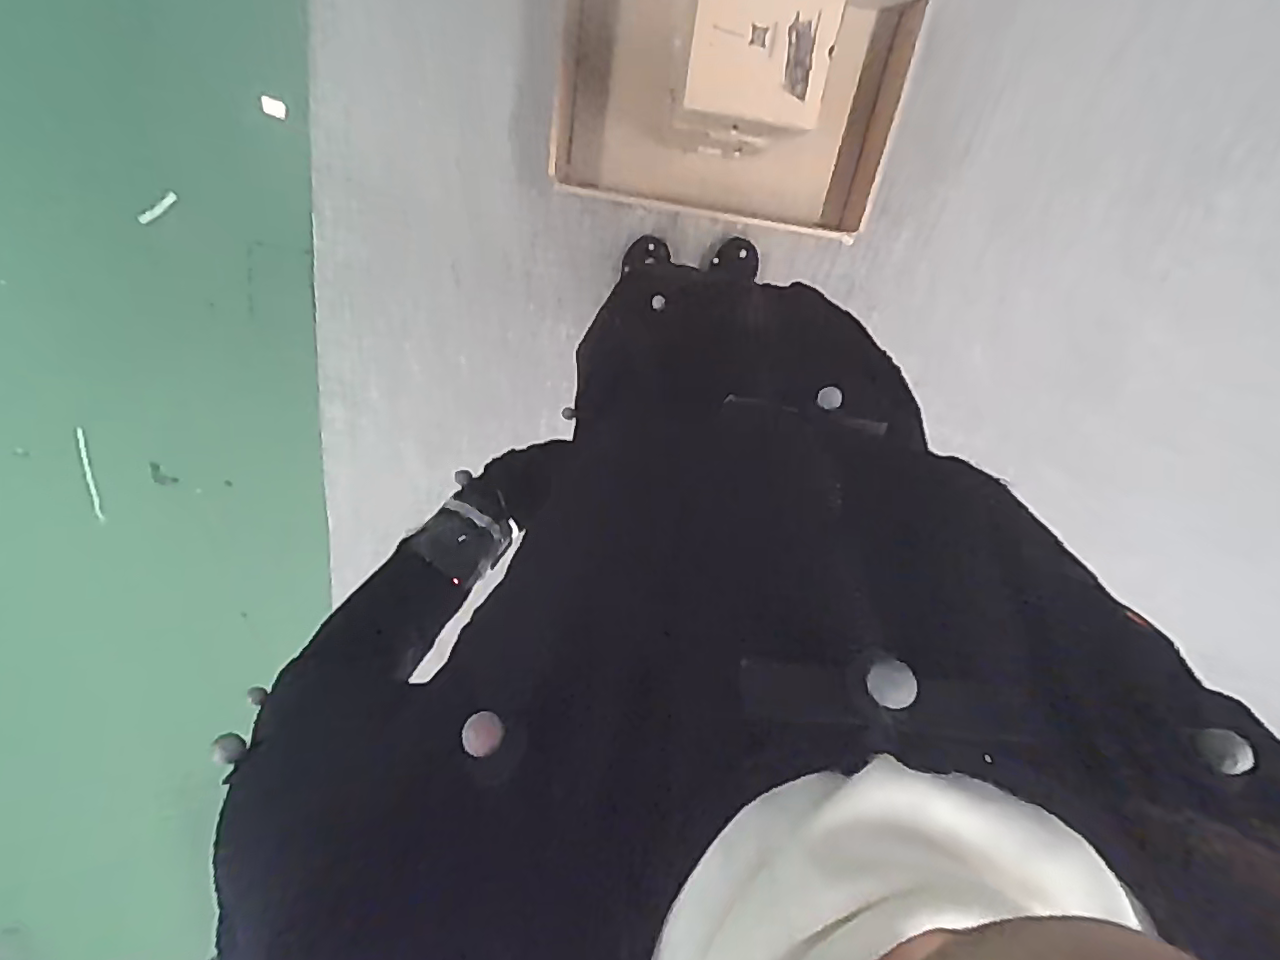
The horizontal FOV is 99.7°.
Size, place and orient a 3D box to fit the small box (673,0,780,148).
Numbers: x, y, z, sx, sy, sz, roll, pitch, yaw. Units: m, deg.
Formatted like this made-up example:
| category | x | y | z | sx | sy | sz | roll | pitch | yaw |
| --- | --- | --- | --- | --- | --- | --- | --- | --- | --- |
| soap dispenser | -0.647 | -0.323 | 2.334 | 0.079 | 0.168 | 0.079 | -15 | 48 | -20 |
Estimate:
| category | x | y | z | sx | sy | sz | roll | pitch | yaw |
| --- | --- | --- | --- | --- | --- | --- | --- | --- | --- |
| small box | 0.145 | -0.638 | 0.855 | 0.168 | 0.176 | 0.179 | 6 | 118 | -2 |

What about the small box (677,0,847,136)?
| category | x | y | z | sx | sy | sz | roll | pitch | yaw |
| --- | --- | --- | --- | --- | --- | --- | --- | --- | --- |
| small box | 0.151 | -0.572 | 0.722 | 0.179 | 0.176 | 0.168 | 8 | 118 | -3 |

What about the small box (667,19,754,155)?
| category | x | y | z | sx | sy | sz | roll | pitch | yaw |
| --- | --- | --- | --- | --- | --- | --- | --- | --- | --- |
| small box | 0.147 | -0.724 | 1.011 | 0.168 | 0.176 | 0.179 | 9 | 117 | -3 |
